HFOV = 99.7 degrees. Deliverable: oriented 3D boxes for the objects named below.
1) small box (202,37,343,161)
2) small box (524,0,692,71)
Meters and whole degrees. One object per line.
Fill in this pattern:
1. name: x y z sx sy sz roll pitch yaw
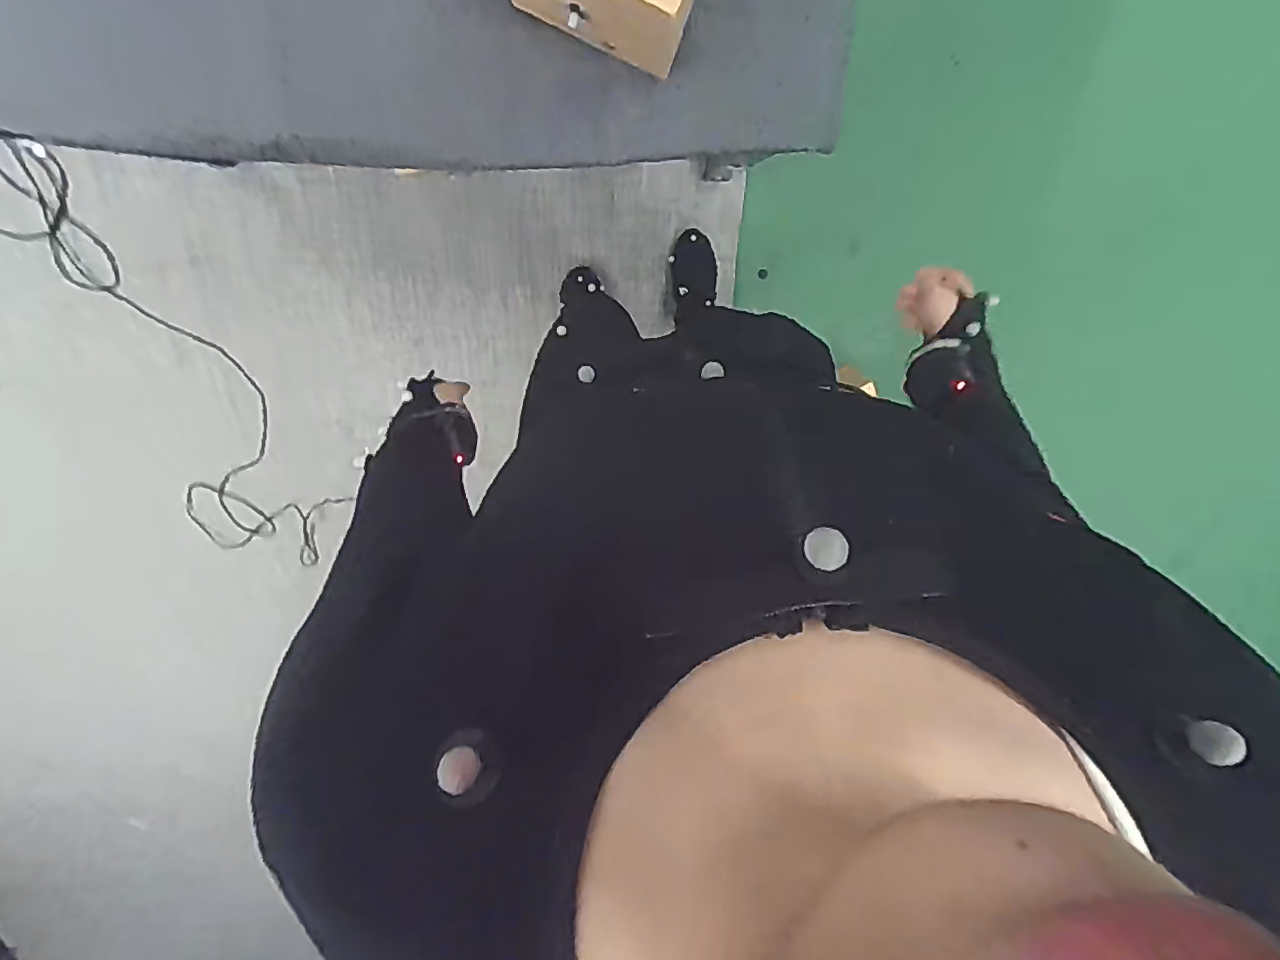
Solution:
1. small box: -0.737 -0.767 1.109 0.168 0.176 0.179 6 115 -2
2. small box: -0.020 -0.473 0.430 0.168 0.176 0.179 21 112 -9
